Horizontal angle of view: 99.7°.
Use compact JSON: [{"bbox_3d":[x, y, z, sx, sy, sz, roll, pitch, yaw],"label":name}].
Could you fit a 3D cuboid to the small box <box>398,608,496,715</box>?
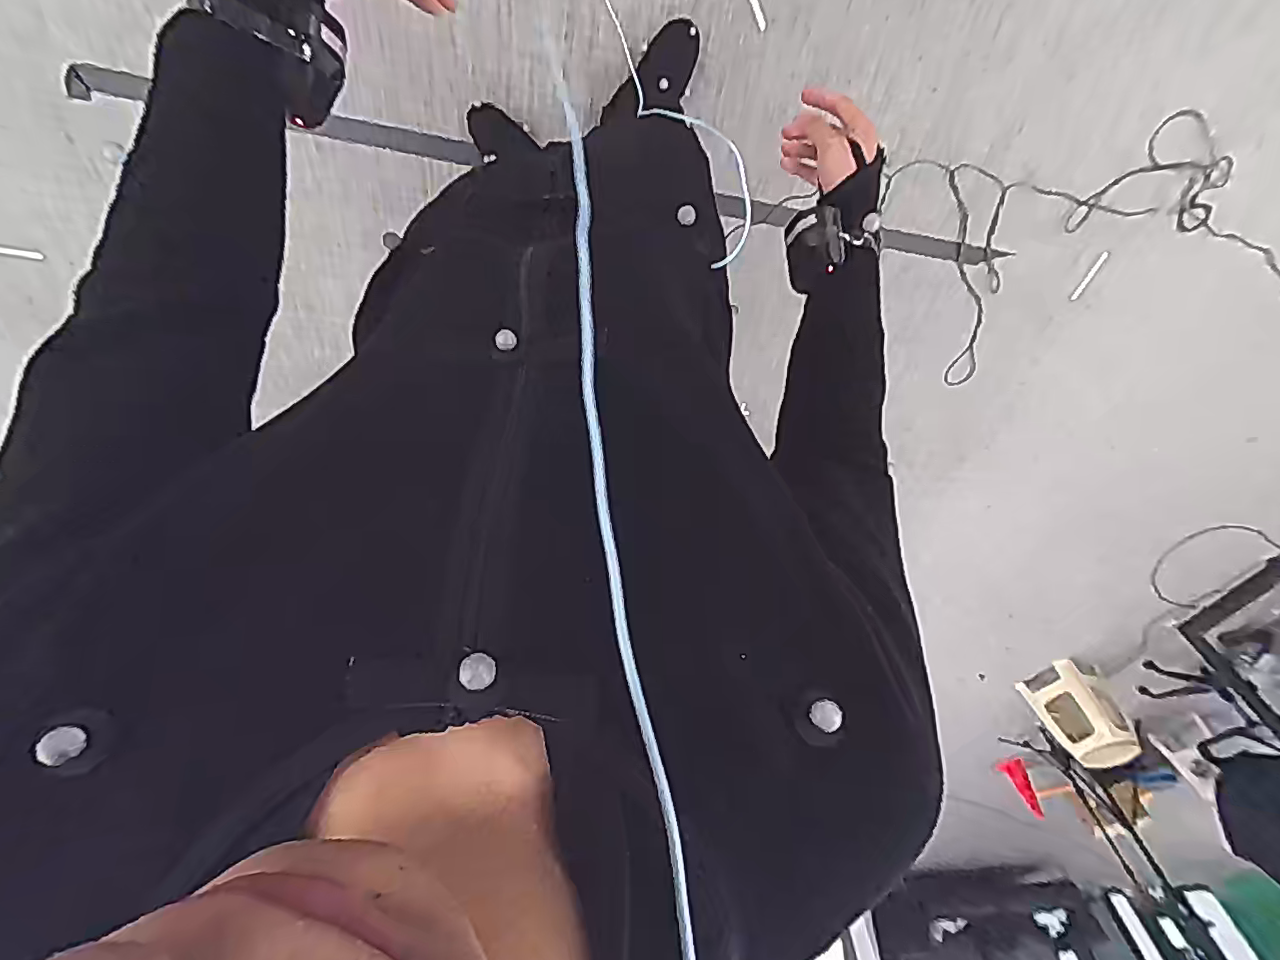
[{"bbox_3d":[-0.428,0.405,1.214,0.179,0.176,0.168,7,130,-12],"label":"small box"}]
